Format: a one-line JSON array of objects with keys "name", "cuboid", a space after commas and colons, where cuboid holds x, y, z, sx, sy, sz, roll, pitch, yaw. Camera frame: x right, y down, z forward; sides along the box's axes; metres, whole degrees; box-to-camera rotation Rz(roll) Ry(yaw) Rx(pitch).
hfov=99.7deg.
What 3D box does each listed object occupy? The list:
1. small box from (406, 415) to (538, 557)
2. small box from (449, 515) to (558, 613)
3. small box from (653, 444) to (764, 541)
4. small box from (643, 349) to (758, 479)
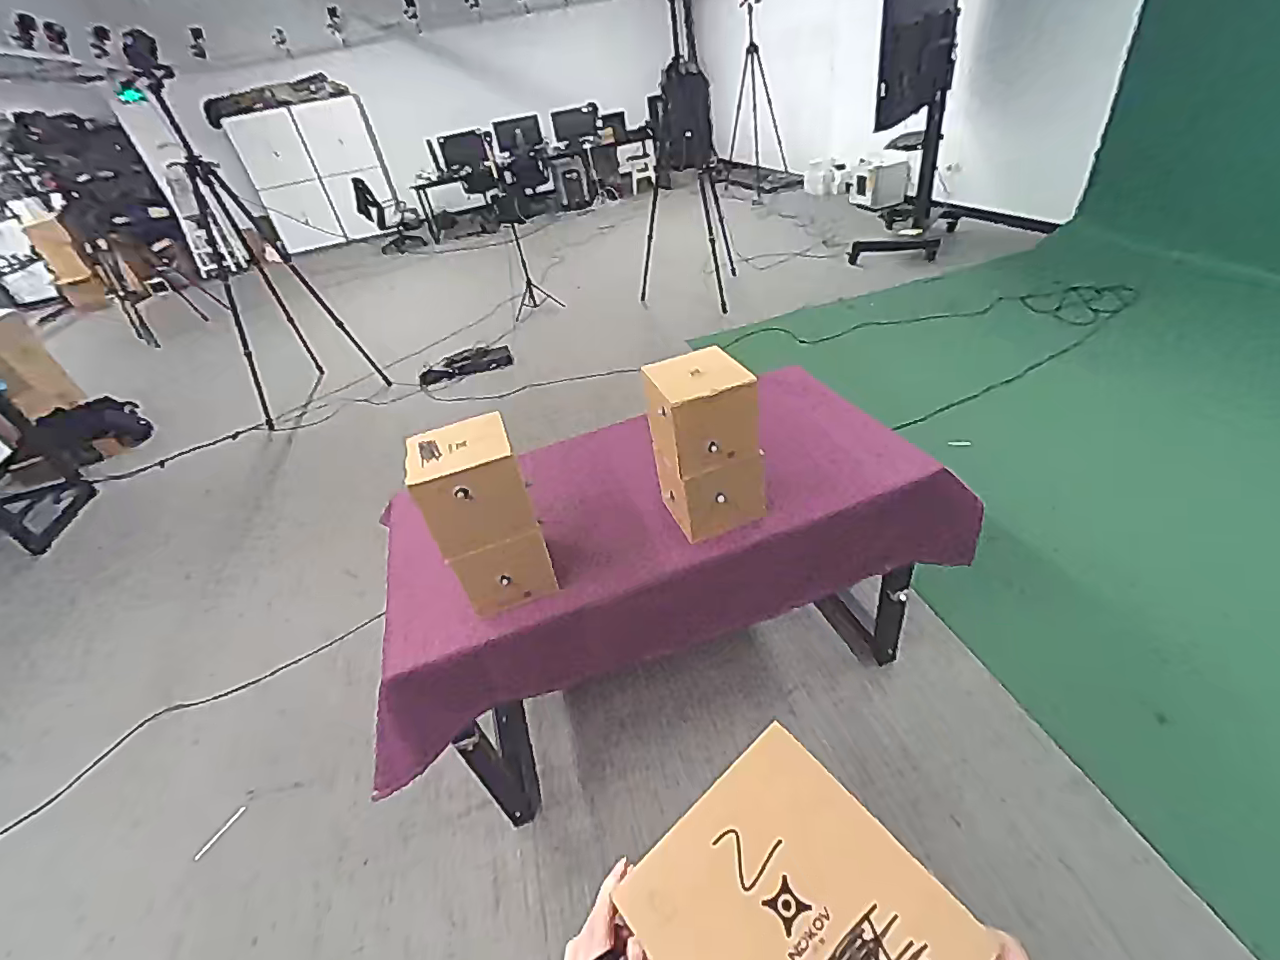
[{"name": "small box", "cuboid": [-0.300, 0.011, 0.977, 0.179, 0.176, 0.168, -18, 37, -10]}, {"name": "small box", "cuboid": [-0.272, 0.140, 1.076, 0.168, 0.176, 0.179, -18, 37, -10]}, {"name": "small box", "cuboid": [0.148, 0.002, 1.142, 0.179, 0.176, 0.168, -20, 37, -10]}, {"name": "small box", "cuboid": [0.116, -0.129, 1.050, 0.168, 0.176, 0.179, -18, 37, -9]}]
